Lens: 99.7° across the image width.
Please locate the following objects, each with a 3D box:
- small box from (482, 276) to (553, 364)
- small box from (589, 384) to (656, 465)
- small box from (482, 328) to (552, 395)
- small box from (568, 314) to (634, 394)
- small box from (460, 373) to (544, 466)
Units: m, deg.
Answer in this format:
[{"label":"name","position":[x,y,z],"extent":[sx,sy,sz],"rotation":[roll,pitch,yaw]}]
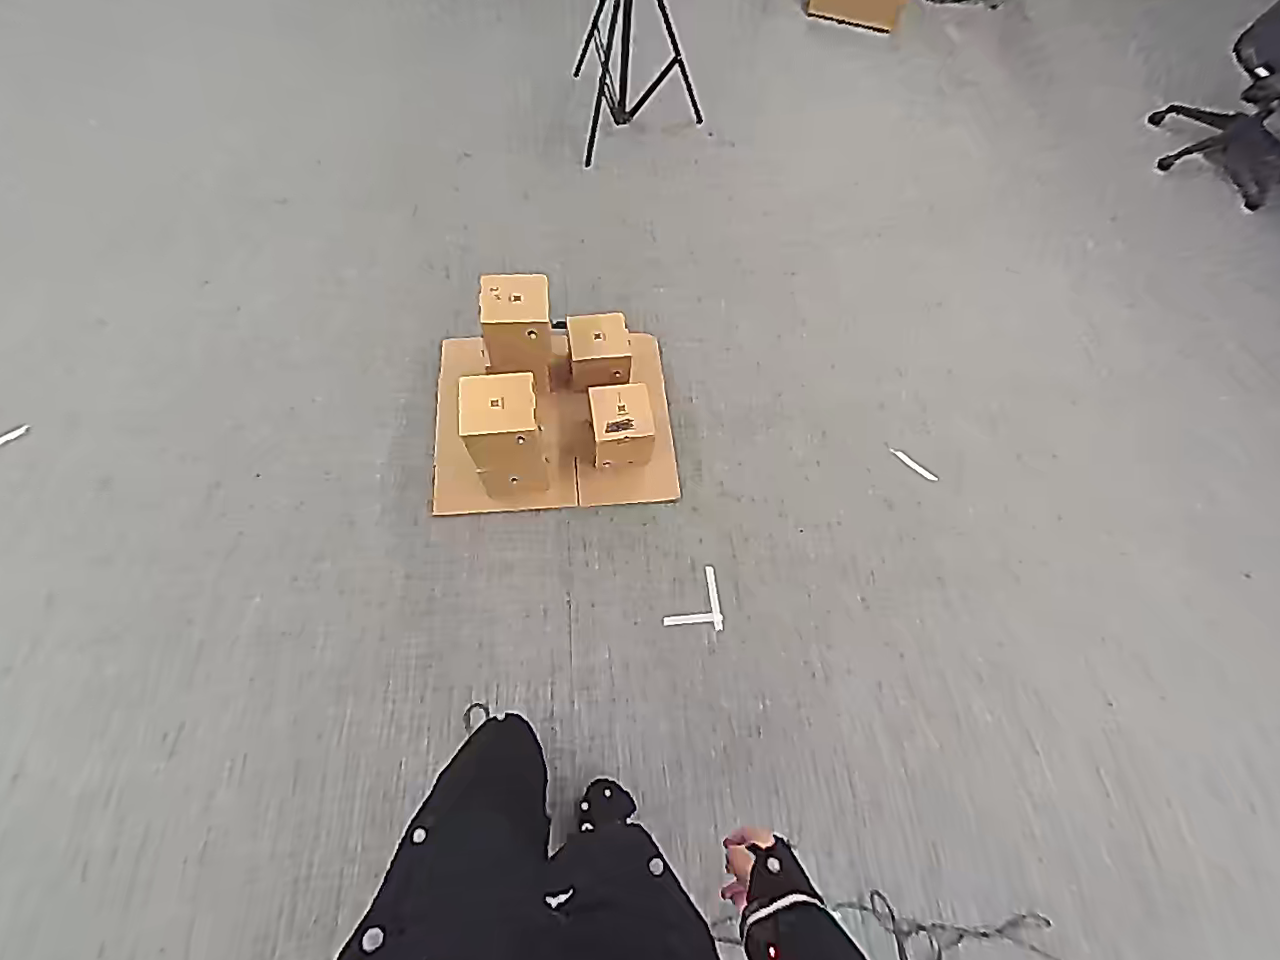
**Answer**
[{"label":"small box","position":[-0.327,-0.431,1.468],"extent":[0.179,0.176,0.168],"rotation":[-4,65,-7]},{"label":"small box","position":[-0.054,-0.152,1.547],"extent":[0.168,0.176,0.179],"rotation":[-6,66,-8]},{"label":"small box","position":[-0.365,-0.360,1.615],"extent":[0.179,0.176,0.168],"rotation":[-7,66,-8]},{"label":"small box","position":[-0.123,-0.381,1.651],"extent":[0.179,0.176,0.168],"rotation":[-8,65,-8]},{"label":"small box","position":[-0.337,-0.144,1.335],"extent":[0.179,0.176,0.168],"rotation":[-6,66,-7]}]
